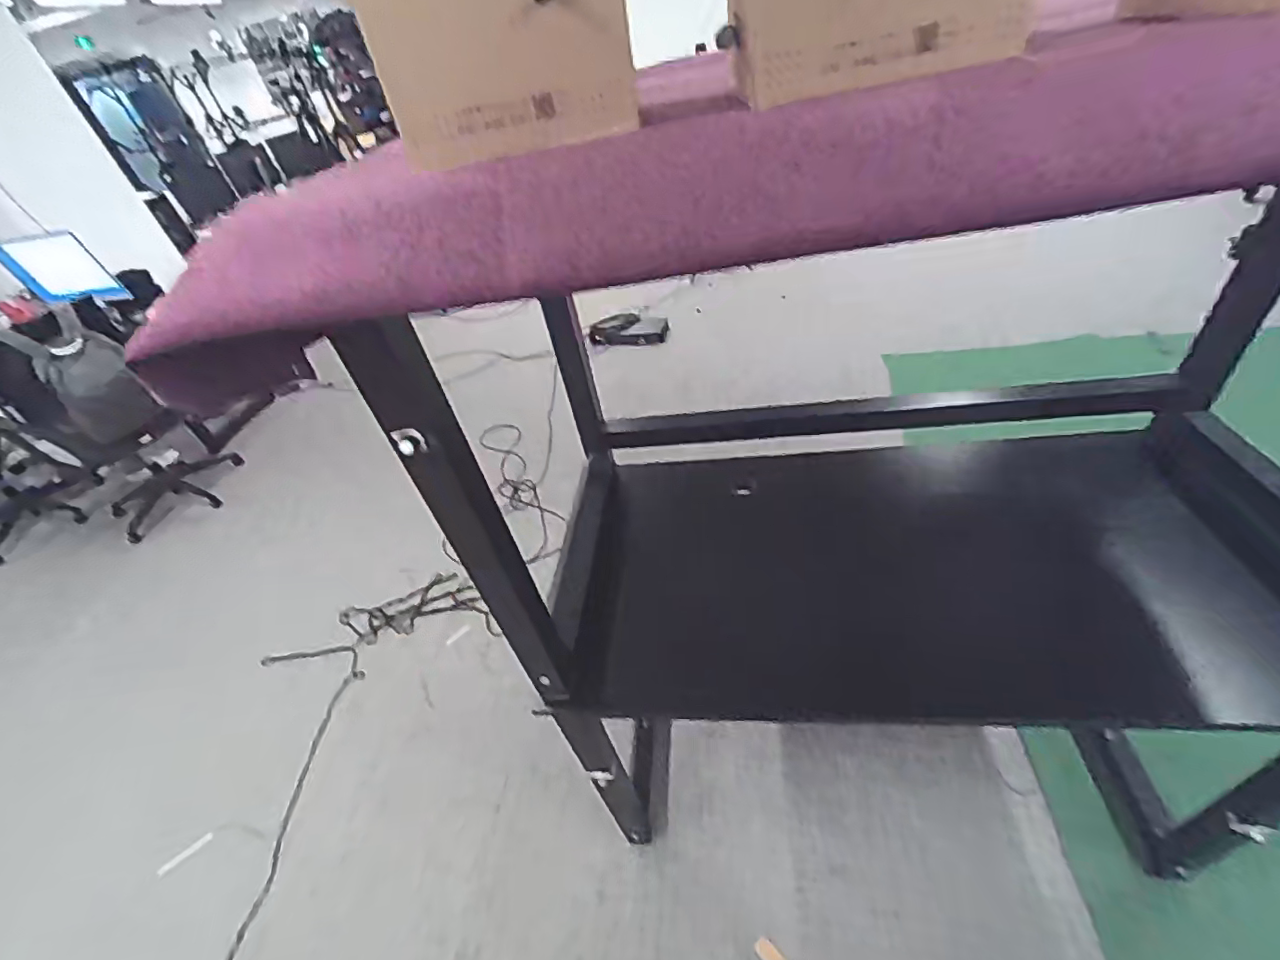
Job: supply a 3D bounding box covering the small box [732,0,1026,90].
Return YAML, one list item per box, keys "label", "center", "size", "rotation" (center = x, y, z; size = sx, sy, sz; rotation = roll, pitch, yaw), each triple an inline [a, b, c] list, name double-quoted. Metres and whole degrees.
- label: "small box"
  center: [0.148, -0.374, 0.354]
  size: [0.168, 0.176, 0.179]
  rotation: [-5, 40, 7]

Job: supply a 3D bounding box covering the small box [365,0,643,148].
- label: "small box"
  center: [-0.089, -0.354, 0.389]
  size: [0.168, 0.176, 0.179]
  rotation: [-6, 39, 6]
